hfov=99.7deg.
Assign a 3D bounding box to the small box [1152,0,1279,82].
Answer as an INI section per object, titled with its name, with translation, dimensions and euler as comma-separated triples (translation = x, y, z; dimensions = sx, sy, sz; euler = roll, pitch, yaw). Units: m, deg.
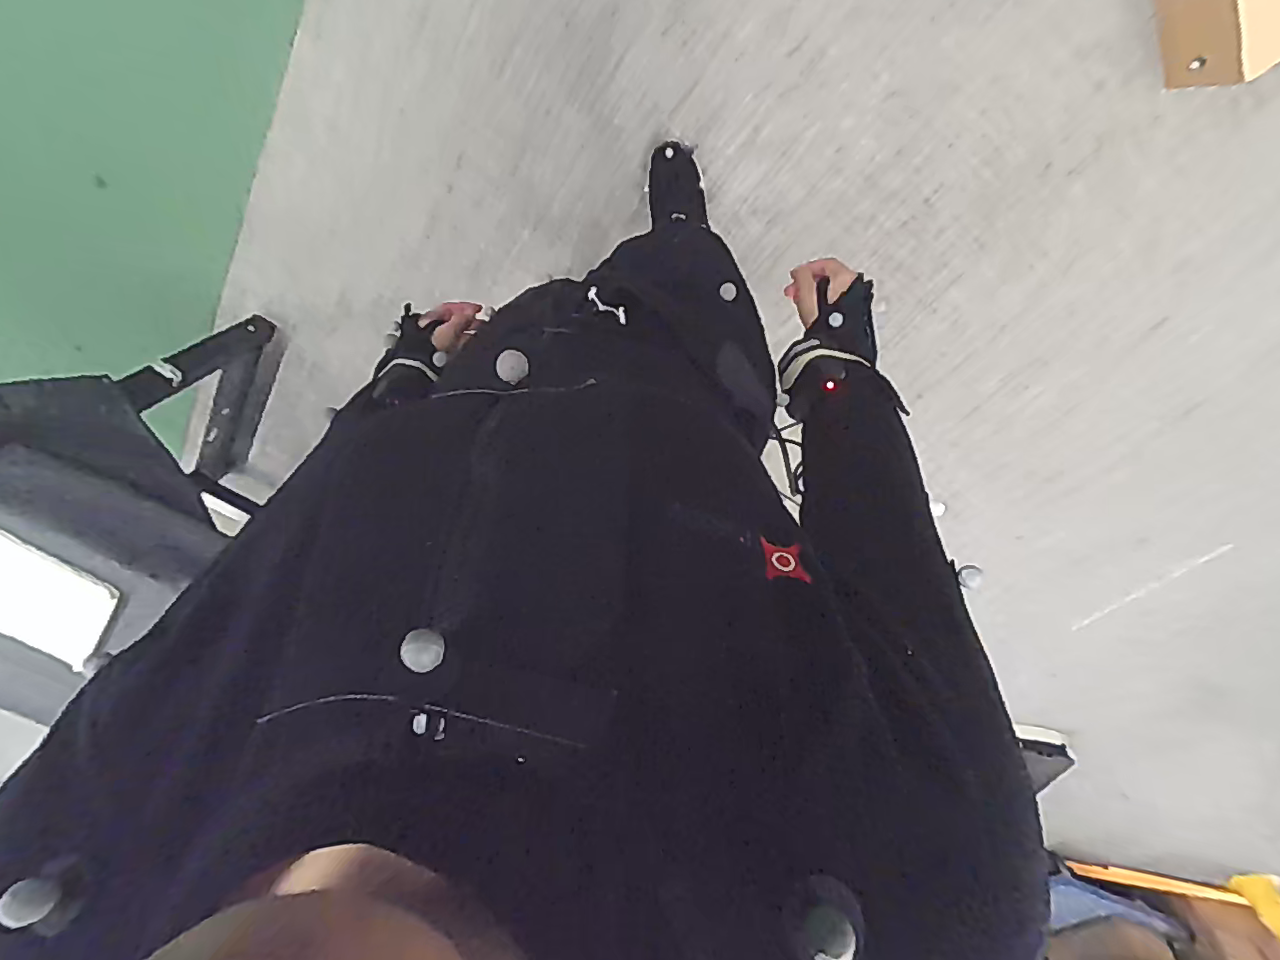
[small box]
translation = 0.951, -0.758, 0.835
dimensions = 0.168, 0.176, 0.179
euler = -30, 116, 22
